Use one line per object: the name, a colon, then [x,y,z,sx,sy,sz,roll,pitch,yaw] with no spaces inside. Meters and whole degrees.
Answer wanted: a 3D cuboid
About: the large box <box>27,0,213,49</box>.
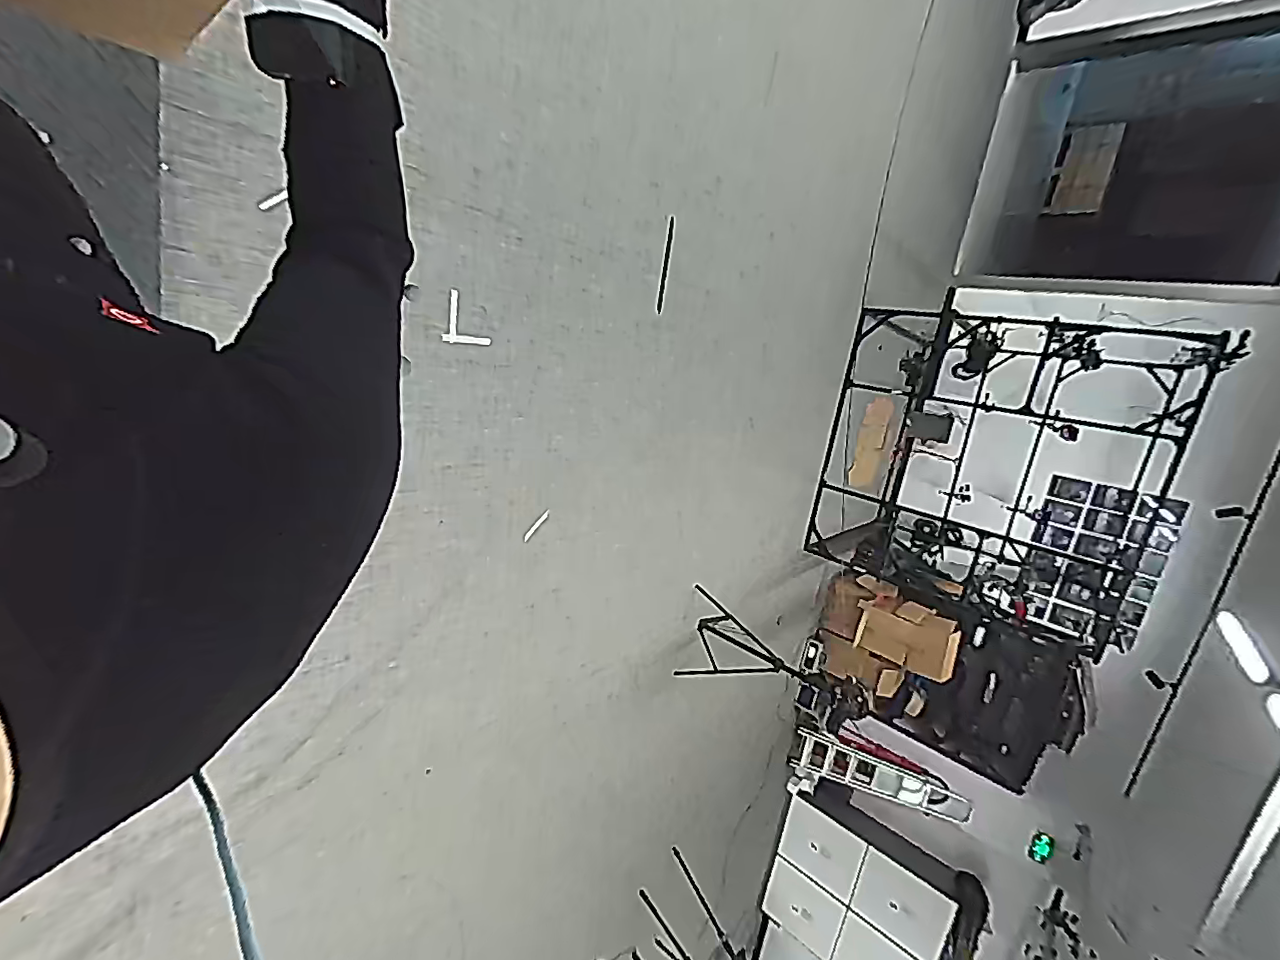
large box: [-0.439,-0.489,0.232,0.408,0.320,0.320,-10,111,-50]
